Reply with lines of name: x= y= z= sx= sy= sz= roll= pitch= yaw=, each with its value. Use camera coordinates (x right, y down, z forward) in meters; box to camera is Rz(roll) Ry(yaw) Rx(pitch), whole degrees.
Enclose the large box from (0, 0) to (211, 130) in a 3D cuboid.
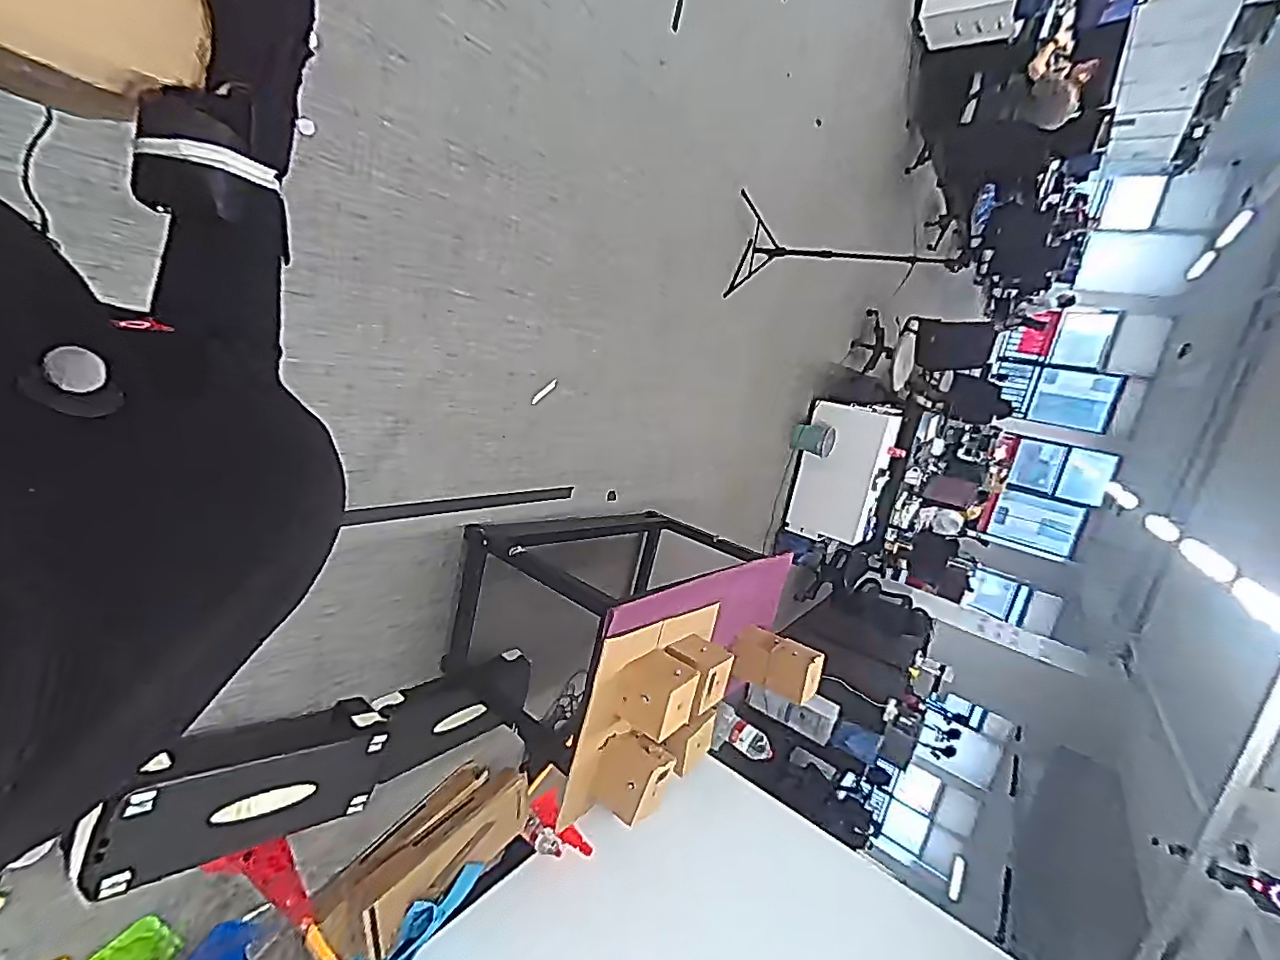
large box: x=-0.504 y=-0.435 z=0.265 sx=0.408 sy=0.320 sz=0.320 roll=-4 pitch=115 yaw=-57
